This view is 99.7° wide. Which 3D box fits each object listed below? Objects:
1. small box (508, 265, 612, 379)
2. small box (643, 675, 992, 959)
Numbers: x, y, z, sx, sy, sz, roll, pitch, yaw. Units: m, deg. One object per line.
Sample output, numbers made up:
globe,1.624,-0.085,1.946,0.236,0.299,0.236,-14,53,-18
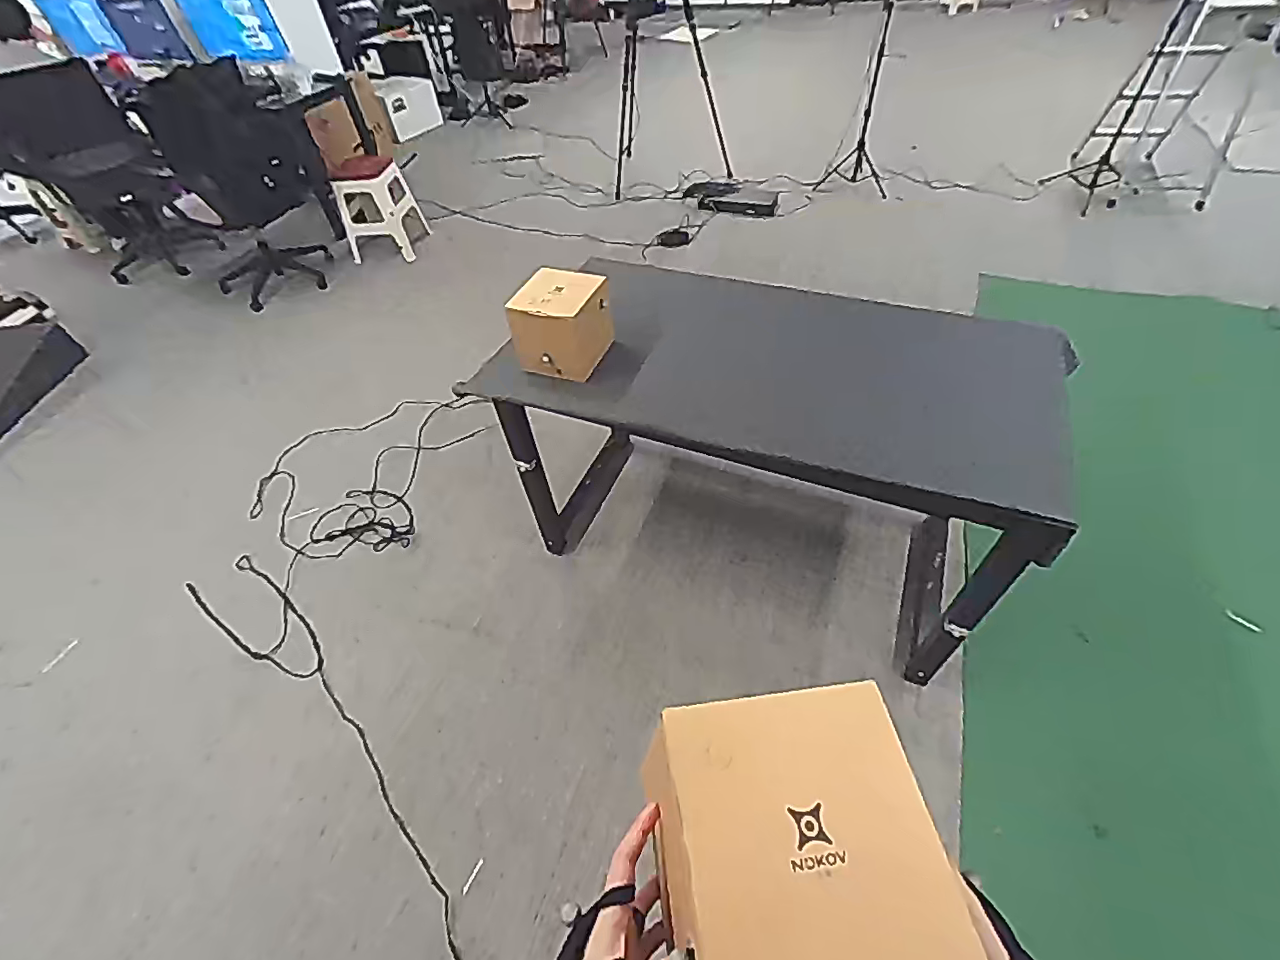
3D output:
small box,-0.170,-0.357,1.220,0.168,0.176,0.179,15,52,17
small box,0.100,0.267,0.402,0.168,0.176,0.179,-4,53,-10
